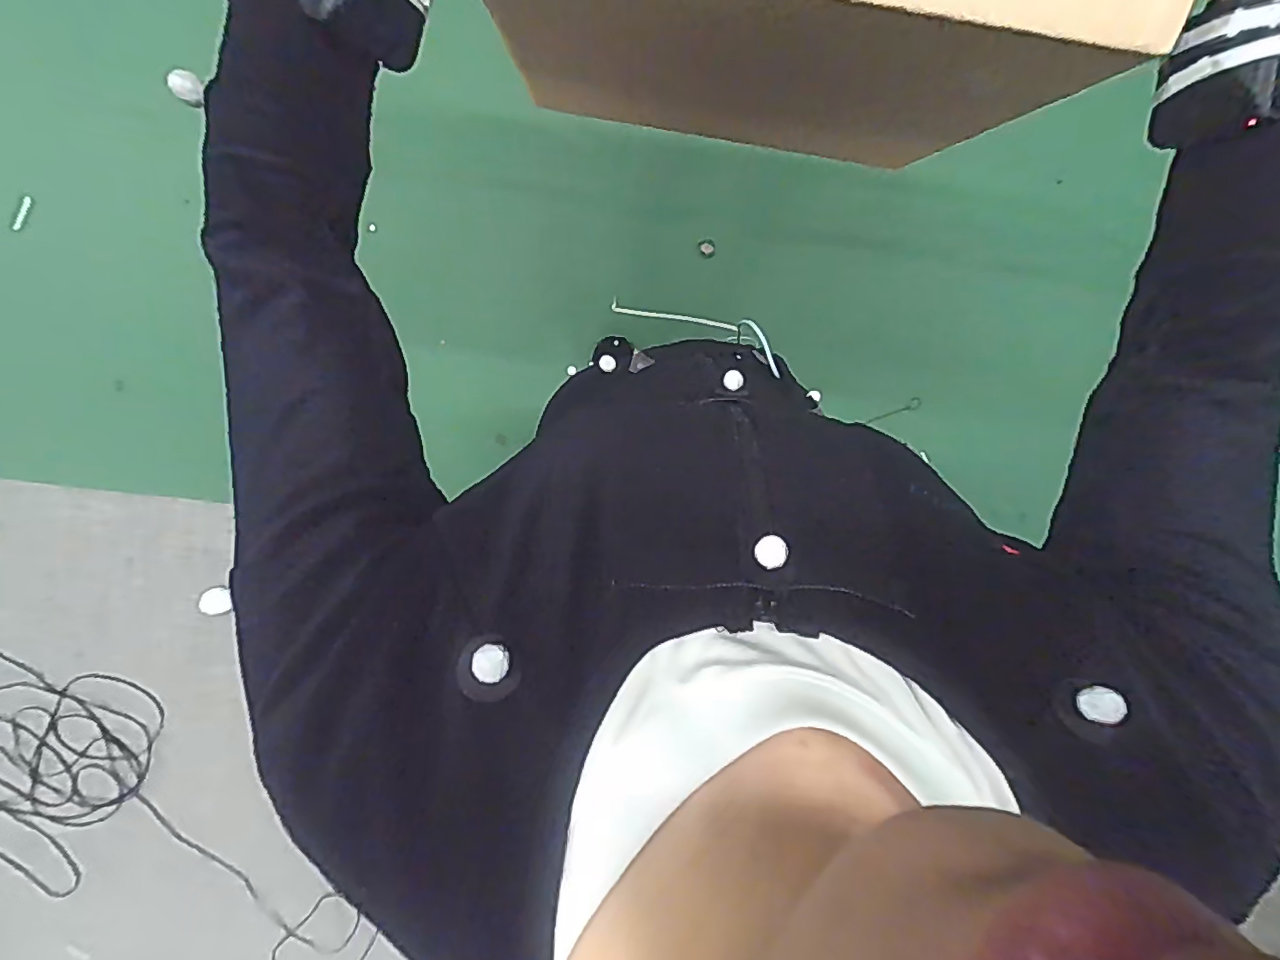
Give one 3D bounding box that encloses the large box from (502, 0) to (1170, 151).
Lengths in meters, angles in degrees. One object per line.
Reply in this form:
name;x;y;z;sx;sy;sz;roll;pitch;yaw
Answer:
large box;0.112;-0.468;0.386;0.408;0.320;0.320;6;110;-5
